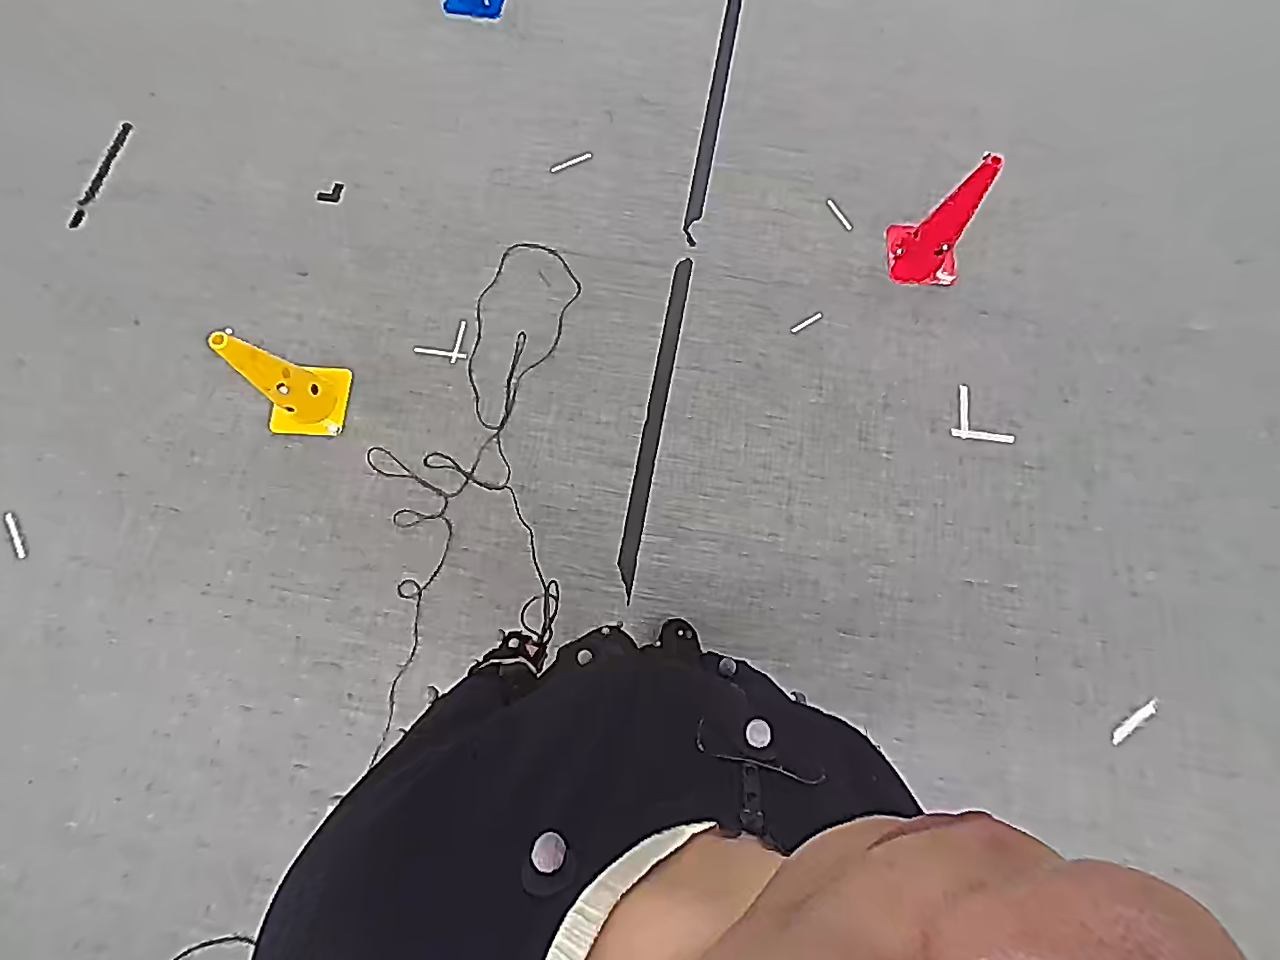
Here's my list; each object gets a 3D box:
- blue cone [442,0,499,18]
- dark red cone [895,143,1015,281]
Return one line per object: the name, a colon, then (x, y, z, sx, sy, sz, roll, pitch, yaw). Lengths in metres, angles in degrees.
blue cone: (-0.578, -1.708, 1.703, 0.192, 0.380, 0.193, 10, 76, 3)
dark red cone: (0.854, -0.720, 1.438, 0.201, 0.394, 0.202, 2, 76, 1)
